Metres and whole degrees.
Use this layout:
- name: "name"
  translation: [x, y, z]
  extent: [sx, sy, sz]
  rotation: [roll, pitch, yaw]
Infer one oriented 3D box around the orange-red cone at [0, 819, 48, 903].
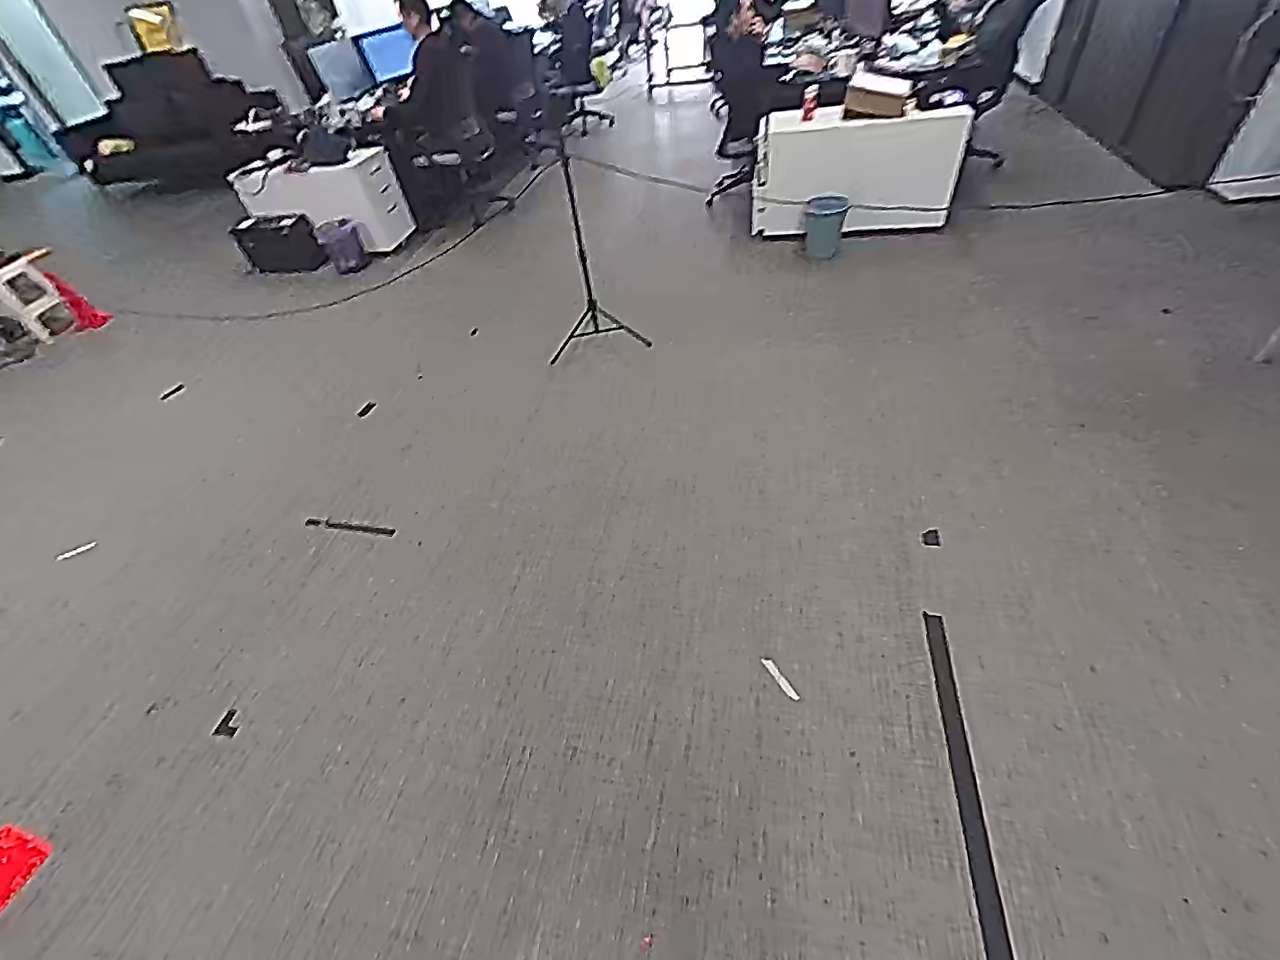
- name: "orange-red cone"
  translation: [-1.630, 0.858, 1.219]
  extent: [0.199, 0.360, 0.198]
  rotation: [10, 49, 17]
